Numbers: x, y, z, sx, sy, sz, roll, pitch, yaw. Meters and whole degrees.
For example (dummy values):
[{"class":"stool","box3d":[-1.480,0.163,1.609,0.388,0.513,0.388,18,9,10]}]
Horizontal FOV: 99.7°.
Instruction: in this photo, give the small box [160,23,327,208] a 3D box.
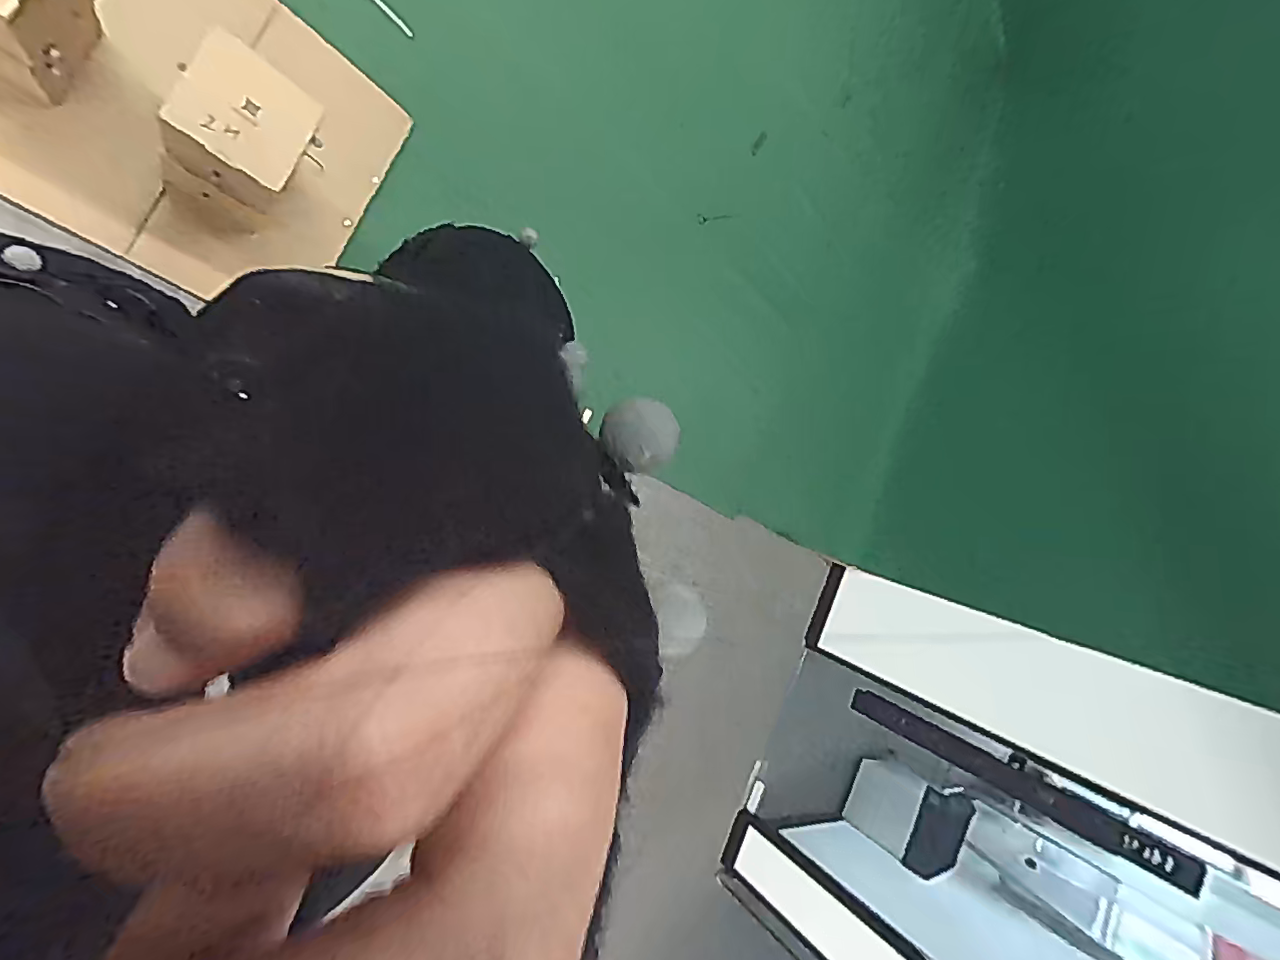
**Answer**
[{"class":"small box","box3d":[-0.669,-0.598,0.914,0.168,0.176,0.179,31,81,-39]}]

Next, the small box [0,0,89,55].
[{"class":"small box","box3d":[-0.878,-0.711,0.710,0.179,0.176,0.168,33,80,-38]}]

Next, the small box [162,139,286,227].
[{"class":"small box","box3d":[-0.778,-0.620,1.038,0.168,0.176,0.179,28,84,-40]}]
